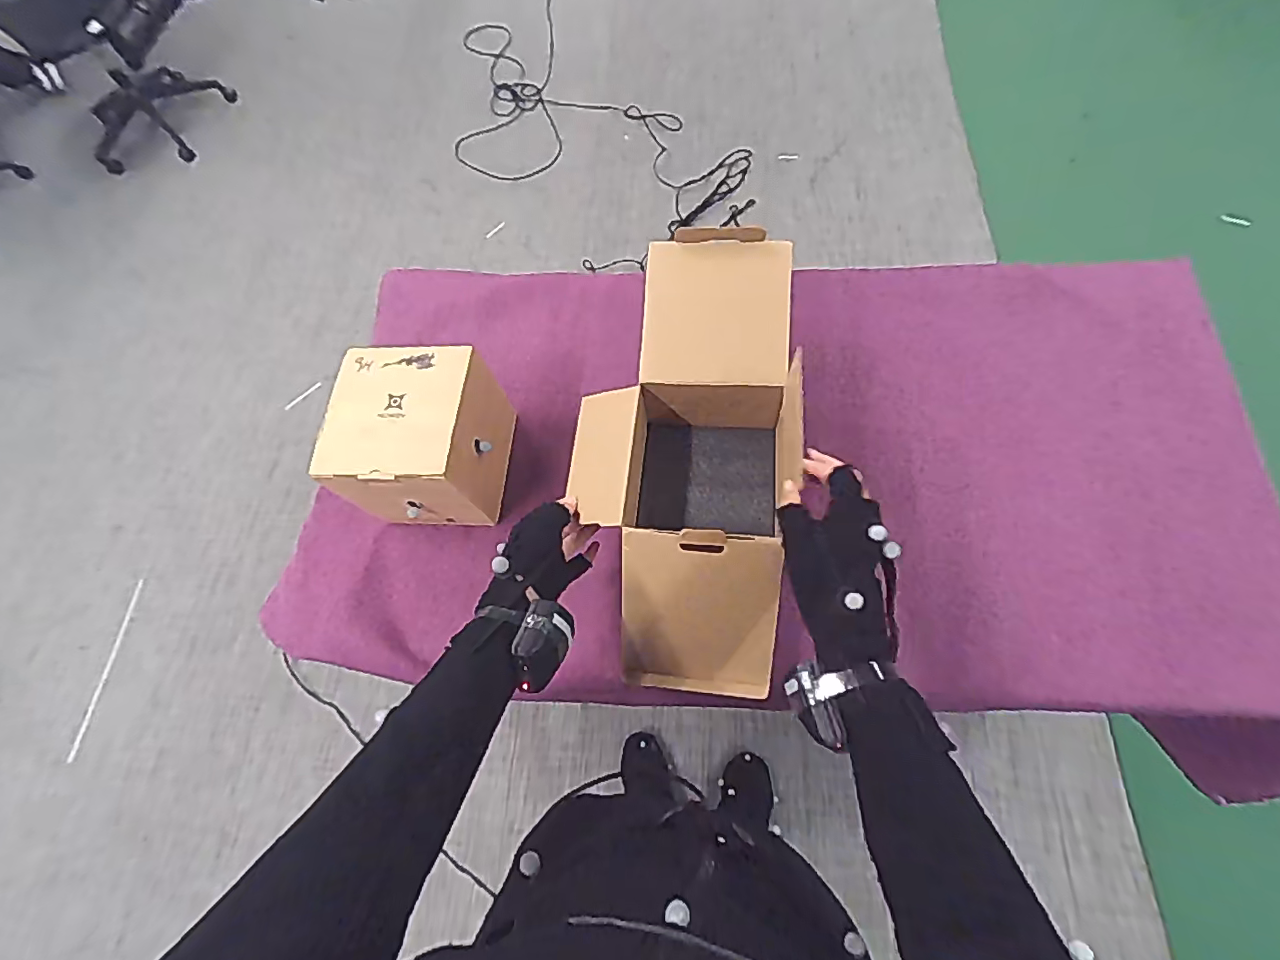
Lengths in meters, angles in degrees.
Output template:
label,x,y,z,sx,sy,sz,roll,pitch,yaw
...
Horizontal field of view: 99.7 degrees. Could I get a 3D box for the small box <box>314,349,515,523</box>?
label,x,y,z,sx,sy,sz,roll,pitch,yaw
small box,-0.274,-0.049,0.703,0.168,0.176,0.179,1,67,7
